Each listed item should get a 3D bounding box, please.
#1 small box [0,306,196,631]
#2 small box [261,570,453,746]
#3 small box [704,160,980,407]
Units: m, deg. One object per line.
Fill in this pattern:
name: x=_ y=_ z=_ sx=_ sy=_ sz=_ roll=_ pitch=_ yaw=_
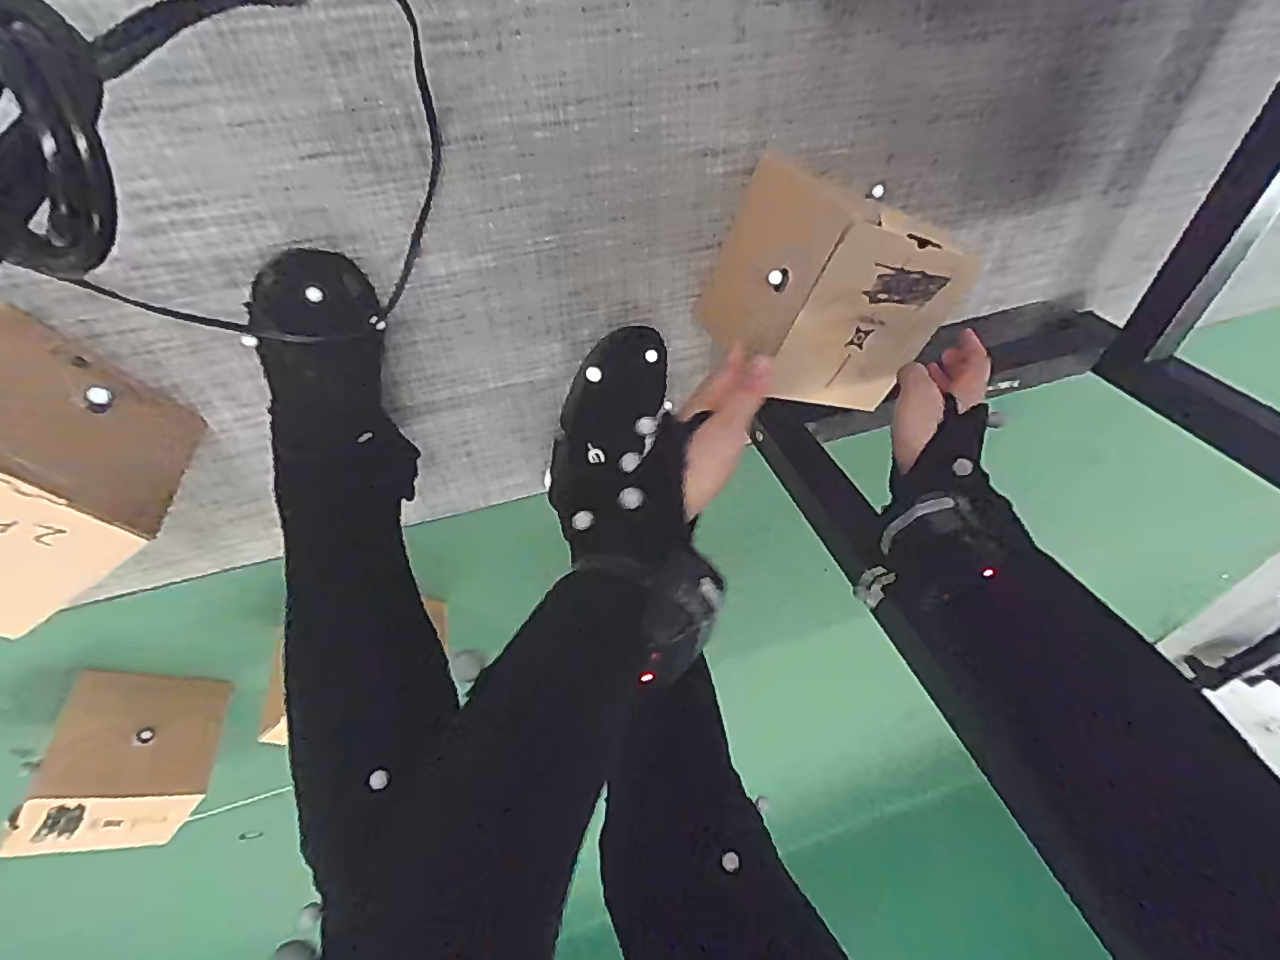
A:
small box: x=-0.530 y=-0.009 z=0.457 sx=0.179 sy=0.176 sz=0.168 roll=-32 pitch=136 yaw=9
small box: x=-0.393 y=0.255 z=0.777 sx=0.168 sy=0.176 sz=0.179 roll=-39 pitch=134 yaw=17
small box: x=0.188 y=-0.201 z=0.561 sx=0.168 sy=0.176 sz=0.179 roll=3 pitch=132 yaw=-25
